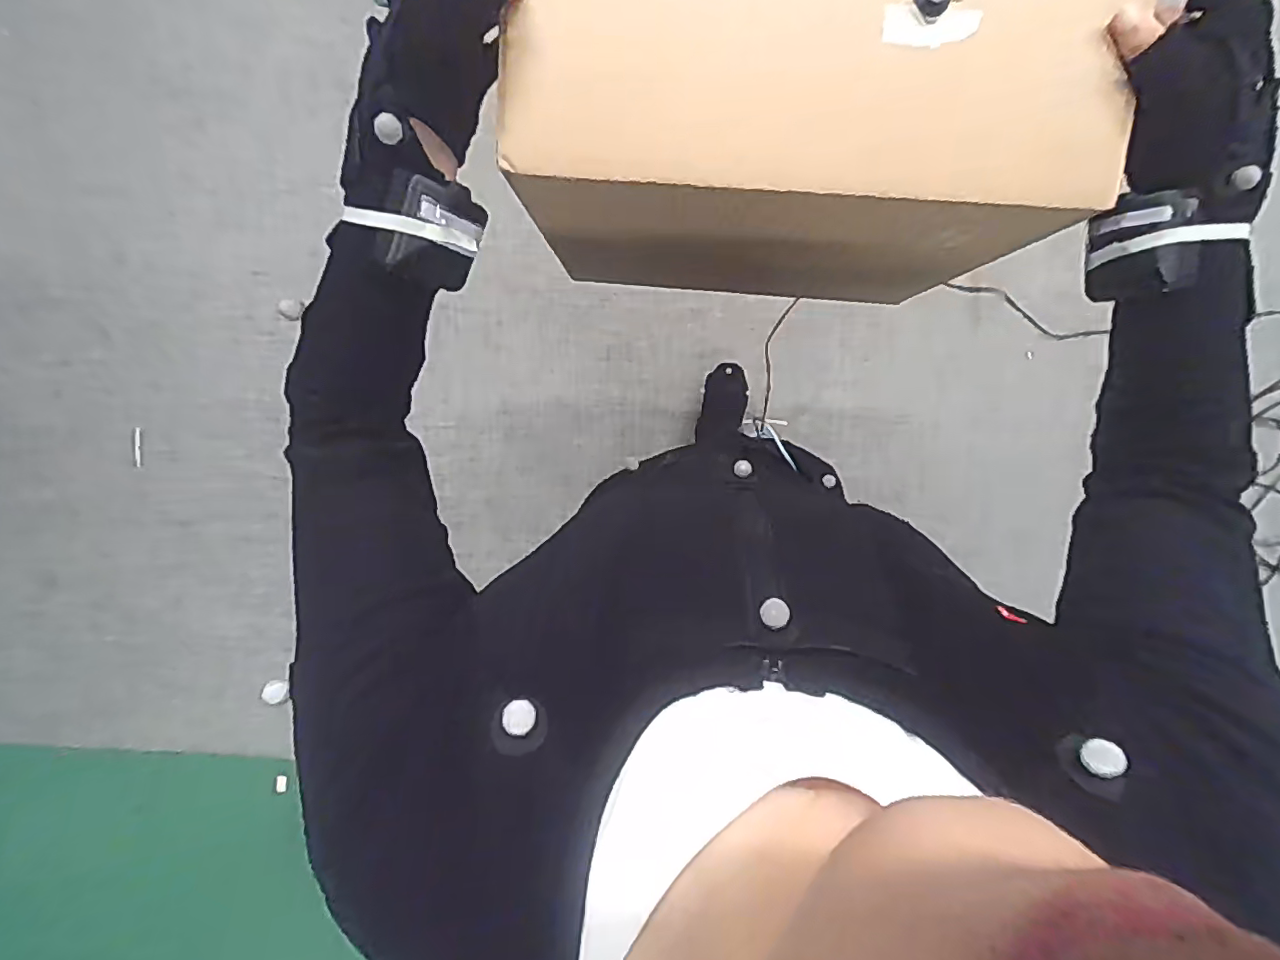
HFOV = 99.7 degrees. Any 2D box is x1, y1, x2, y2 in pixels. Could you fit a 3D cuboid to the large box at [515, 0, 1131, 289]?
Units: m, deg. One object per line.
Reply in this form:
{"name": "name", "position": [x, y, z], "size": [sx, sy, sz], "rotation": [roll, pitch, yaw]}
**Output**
{"name": "large box", "position": [0.122, -0.373, 0.495], "size": [0.408, 0.320, 0.320], "rotation": [4, 98, 1]}
